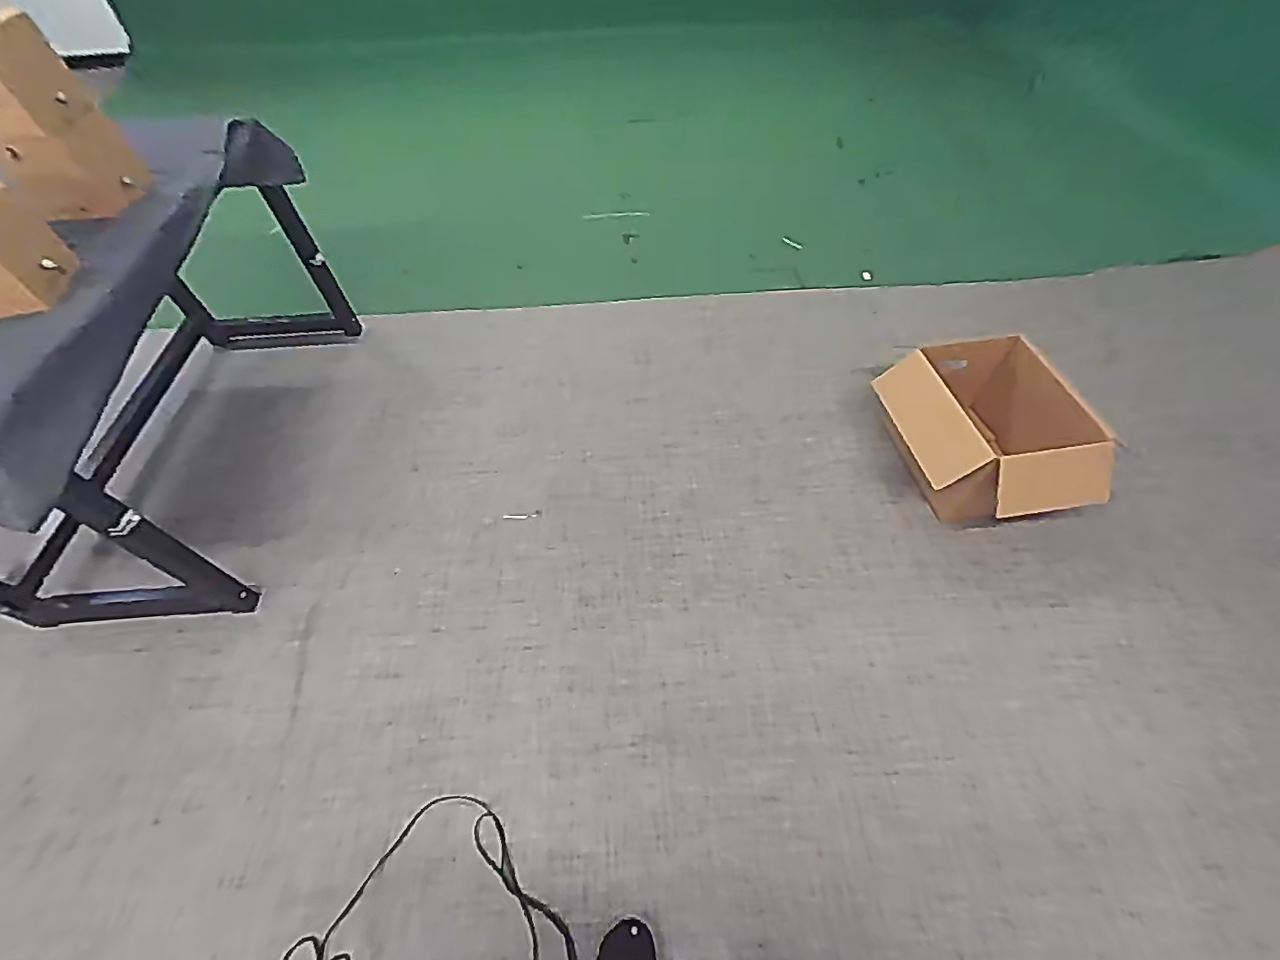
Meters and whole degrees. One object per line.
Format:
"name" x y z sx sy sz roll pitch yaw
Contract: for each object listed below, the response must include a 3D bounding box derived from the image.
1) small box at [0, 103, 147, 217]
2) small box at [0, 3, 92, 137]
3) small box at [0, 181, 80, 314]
"small box" -1.271 -0.711 1.206 0.168 0.176 0.179 -3 54 0
"small box" -1.279 -0.806 1.068 0.168 0.176 0.179 -2 55 1
"small box" -1.220 -0.419 0.996 0.179 0.176 0.168 -11 55 -6
